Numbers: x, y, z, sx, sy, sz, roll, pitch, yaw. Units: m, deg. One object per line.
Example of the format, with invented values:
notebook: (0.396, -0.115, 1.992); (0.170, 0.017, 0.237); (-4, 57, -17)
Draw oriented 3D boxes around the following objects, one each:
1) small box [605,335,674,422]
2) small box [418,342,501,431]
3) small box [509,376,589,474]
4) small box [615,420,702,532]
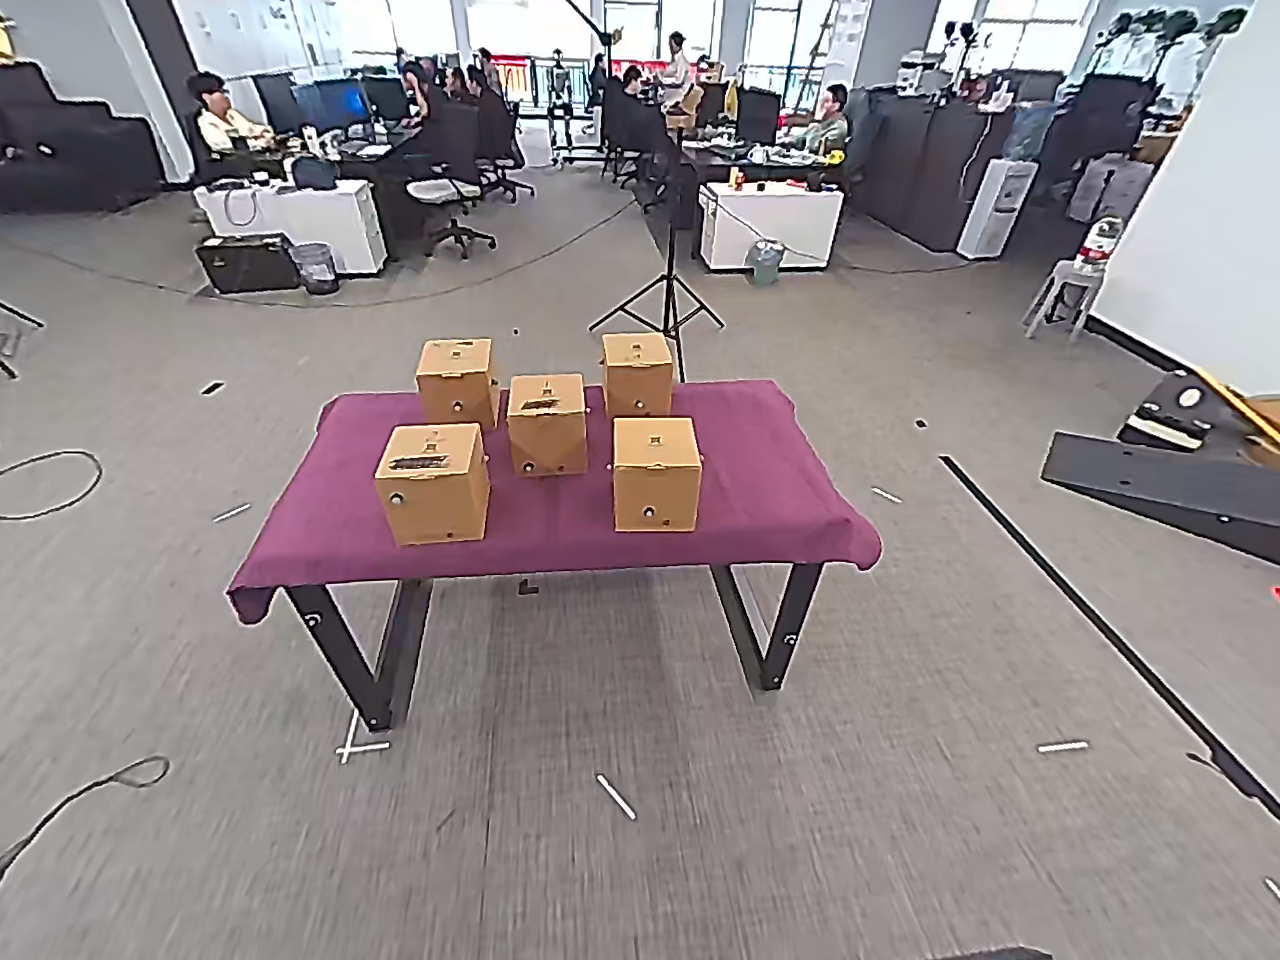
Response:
small box: (-0.009, -0.271, 1.443); (0.168, 0.176, 0.179); (-4, 41, -6)
small box: (-0.451, -0.235, 1.381); (0.168, 0.176, 0.179); (-3, 42, -7)
small box: (-0.207, -0.125, 1.261); (0.168, 0.176, 0.179); (-3, 39, -6)
small box: (0.031, -0.010, 1.130); (0.168, 0.176, 0.179); (-1, 38, -3)
